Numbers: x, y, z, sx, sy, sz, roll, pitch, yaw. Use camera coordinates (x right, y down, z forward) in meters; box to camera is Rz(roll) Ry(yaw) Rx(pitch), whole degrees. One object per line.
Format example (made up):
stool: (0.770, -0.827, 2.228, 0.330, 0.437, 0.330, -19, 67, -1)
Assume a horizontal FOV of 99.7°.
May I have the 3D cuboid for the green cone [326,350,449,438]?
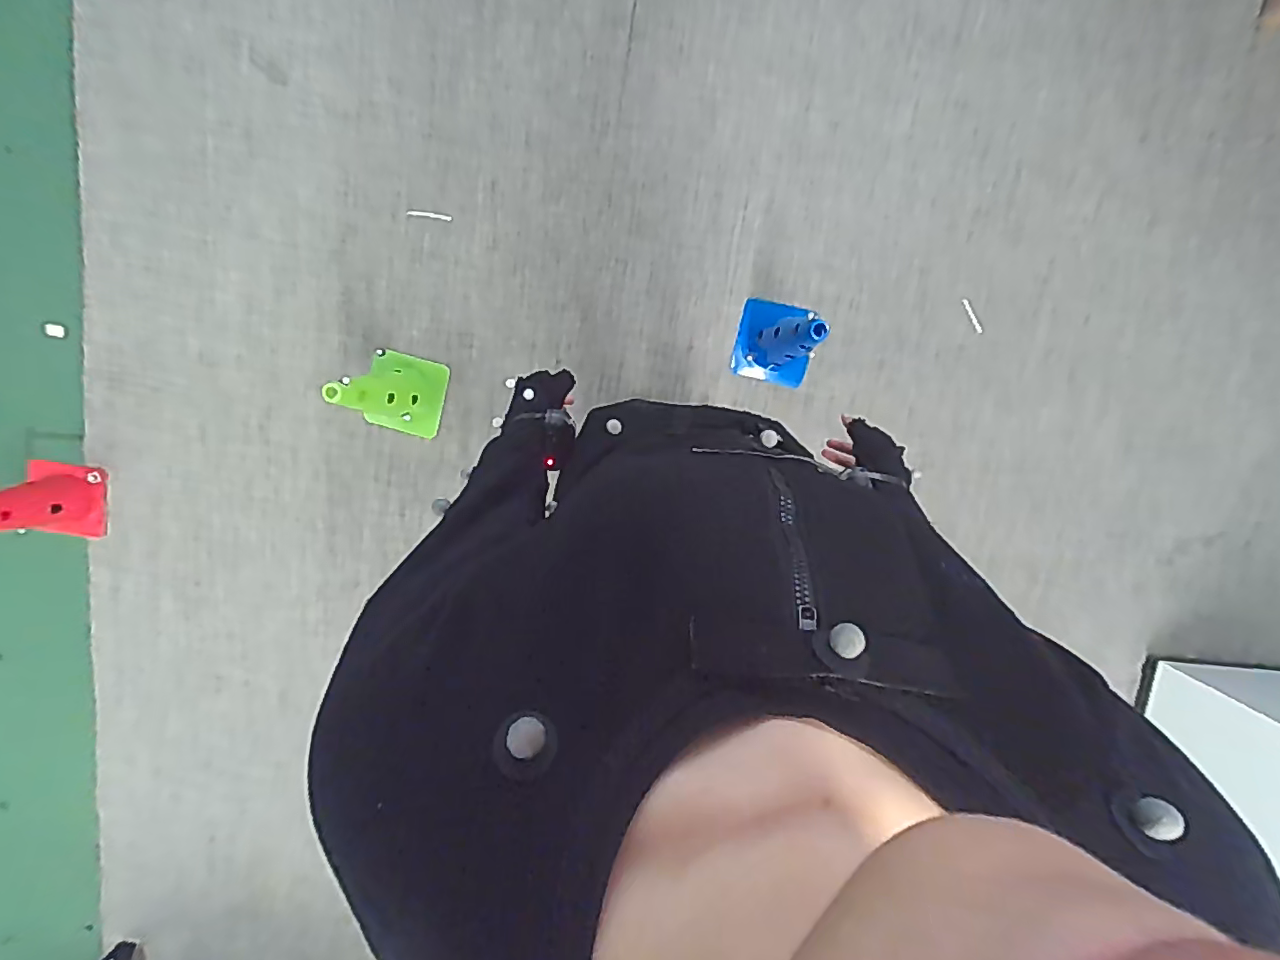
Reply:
green cone: (-0.616, -0.201, 1.260, 0.202, 0.368, 0.200, 14, 98, -2)
